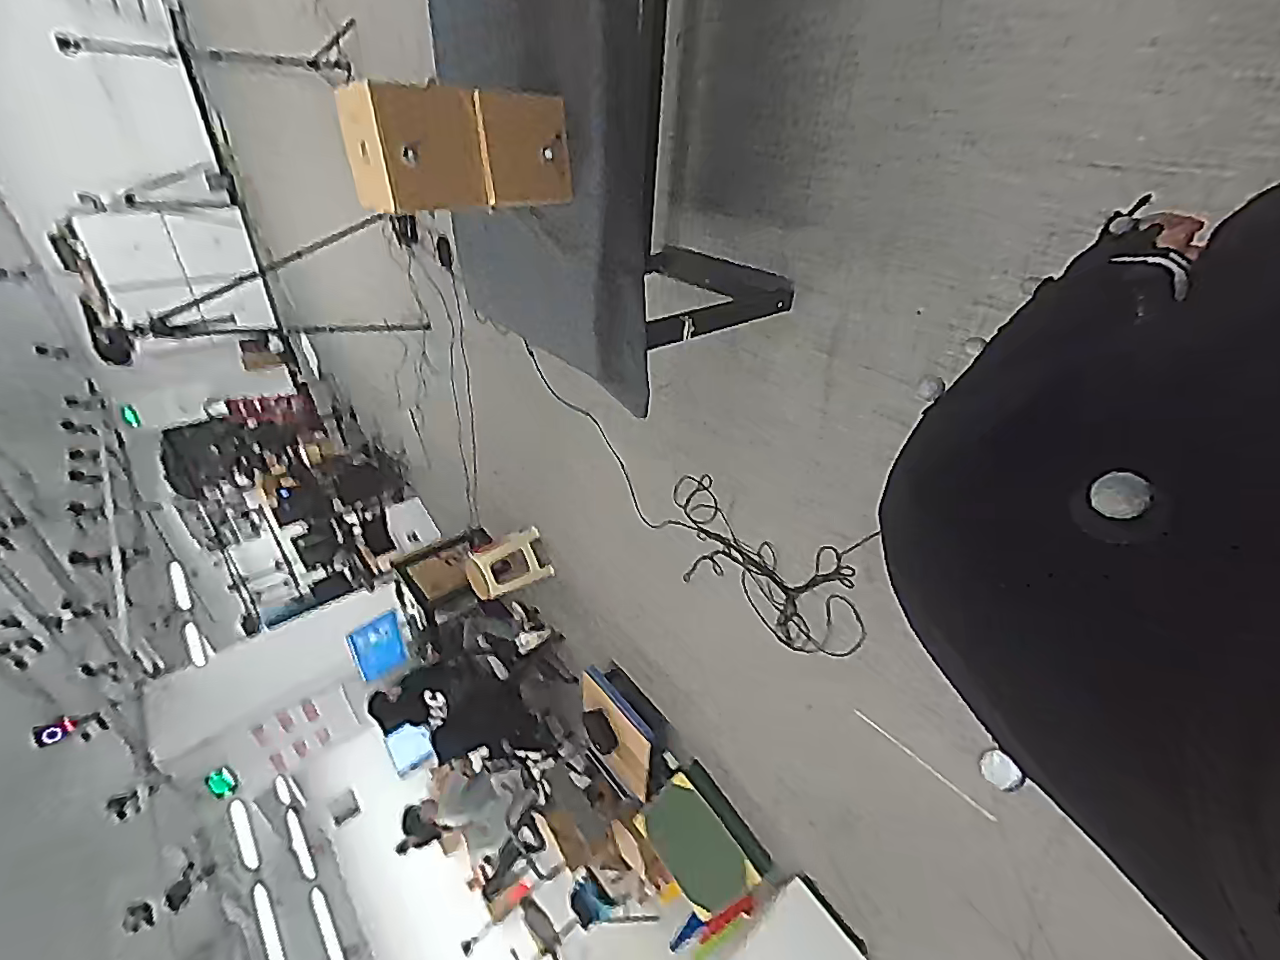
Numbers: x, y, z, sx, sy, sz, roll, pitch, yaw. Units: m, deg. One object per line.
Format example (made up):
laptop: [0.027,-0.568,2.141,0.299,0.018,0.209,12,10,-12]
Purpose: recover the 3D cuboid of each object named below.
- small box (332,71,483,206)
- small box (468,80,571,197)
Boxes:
small box: [-0.379,-0.565,0.905,0.168,0.176,0.179,29,131,39]
small box: [-0.247,-0.612,0.989,0.179,0.176,0.168,26,130,43]
